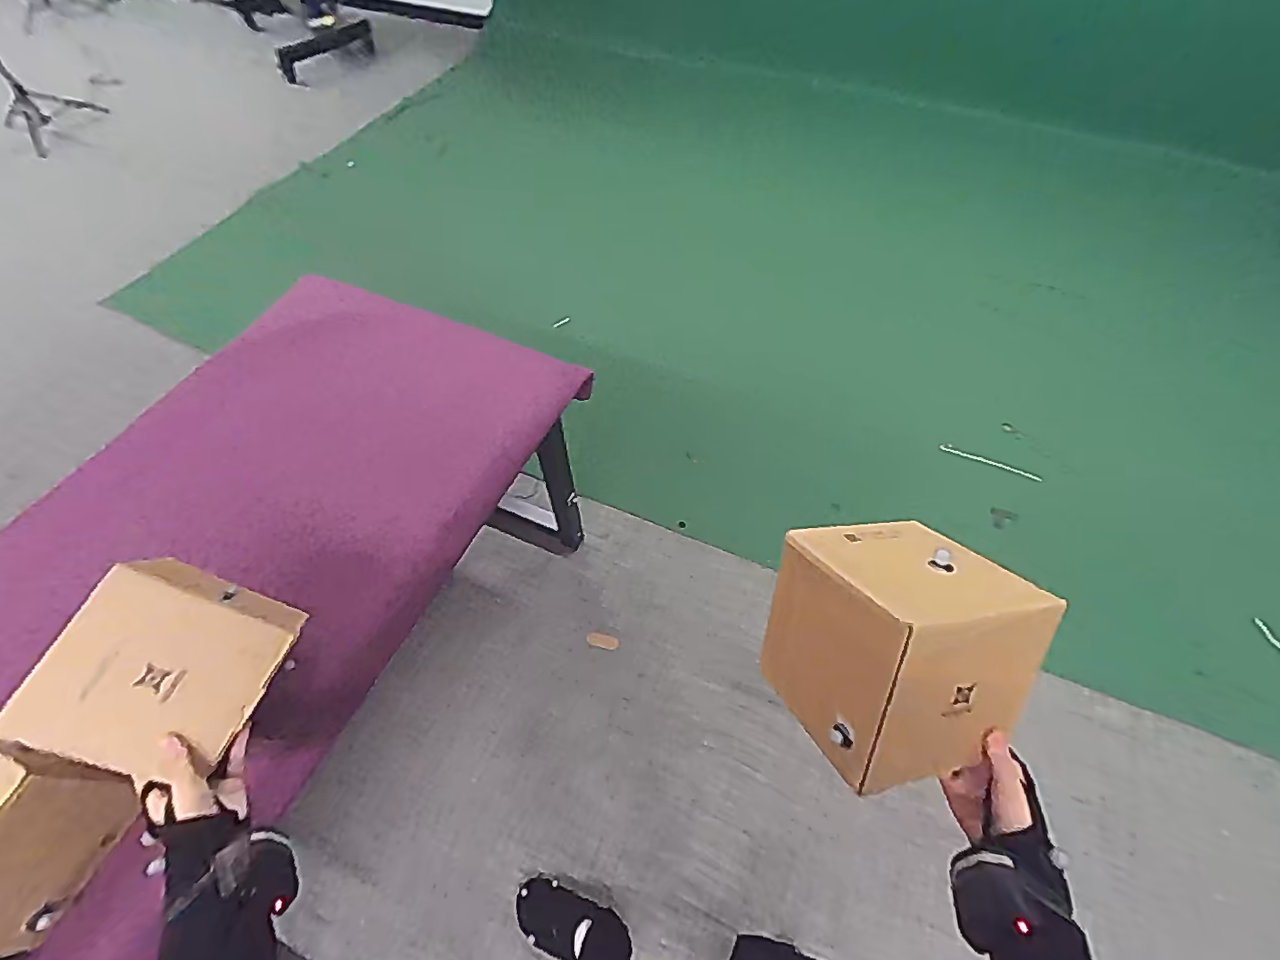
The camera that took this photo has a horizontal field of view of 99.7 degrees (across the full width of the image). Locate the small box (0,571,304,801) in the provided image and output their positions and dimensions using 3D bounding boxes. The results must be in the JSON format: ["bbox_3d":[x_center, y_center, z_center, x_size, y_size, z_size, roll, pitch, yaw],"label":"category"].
[{"bbox_3d":[-0.503,0.209,0.593,0.179,0.176,0.168,32,73,-20],"label":"small box"}]

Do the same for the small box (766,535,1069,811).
[{"bbox_3d":[0.239,0.161,0.511,0.168,0.179,0.176,-2,22,-19],"label":"small box"}]
